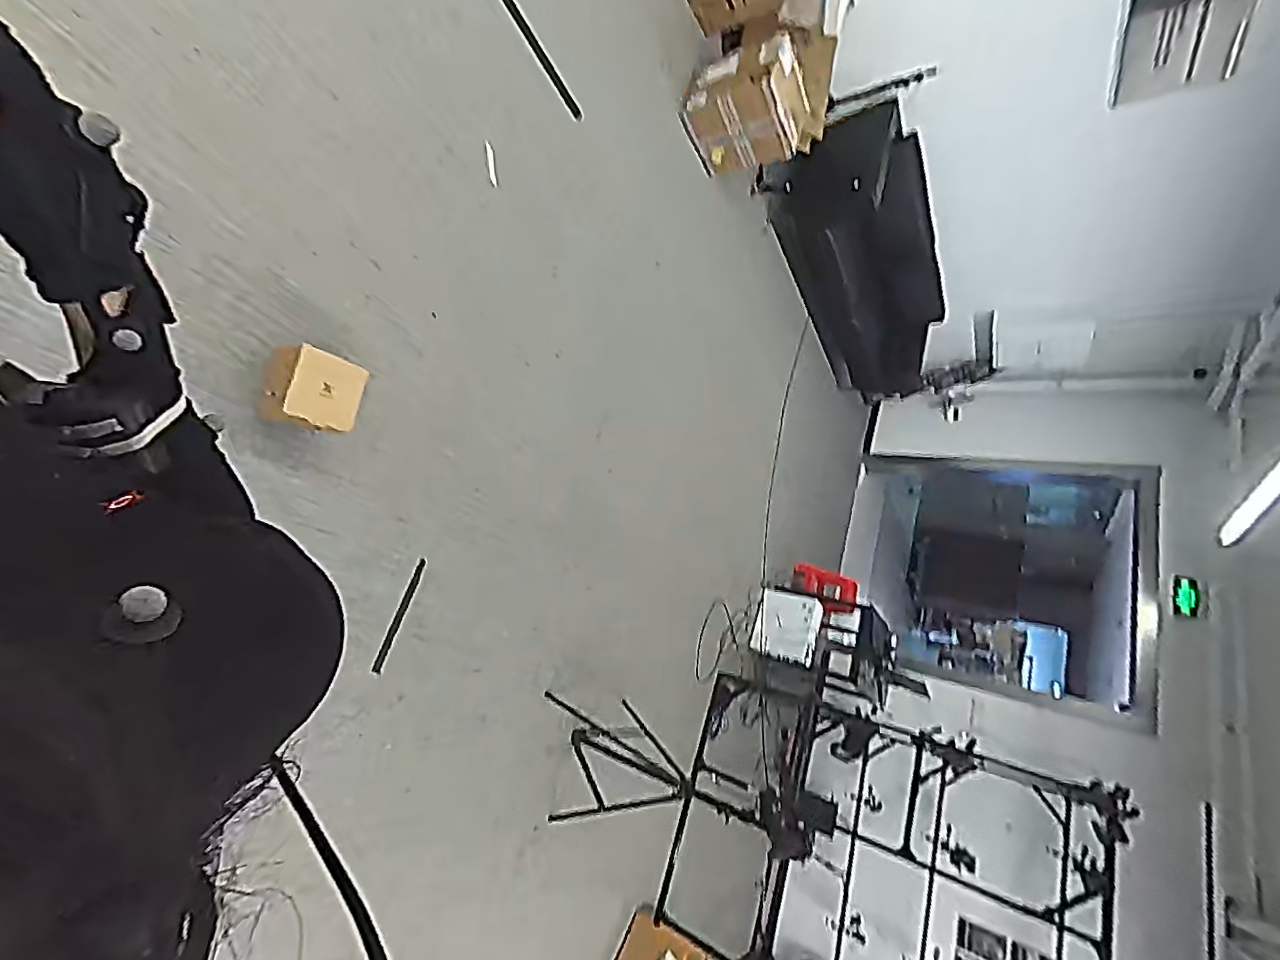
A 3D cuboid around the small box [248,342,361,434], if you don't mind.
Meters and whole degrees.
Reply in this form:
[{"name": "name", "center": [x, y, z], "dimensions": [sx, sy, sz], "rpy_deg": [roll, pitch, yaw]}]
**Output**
[{"name": "small box", "center": [-0.842, -0.224, 1.352], "dimensions": [0.168, 0.176, 0.179], "rpy_deg": [25, 73, -55]}]
